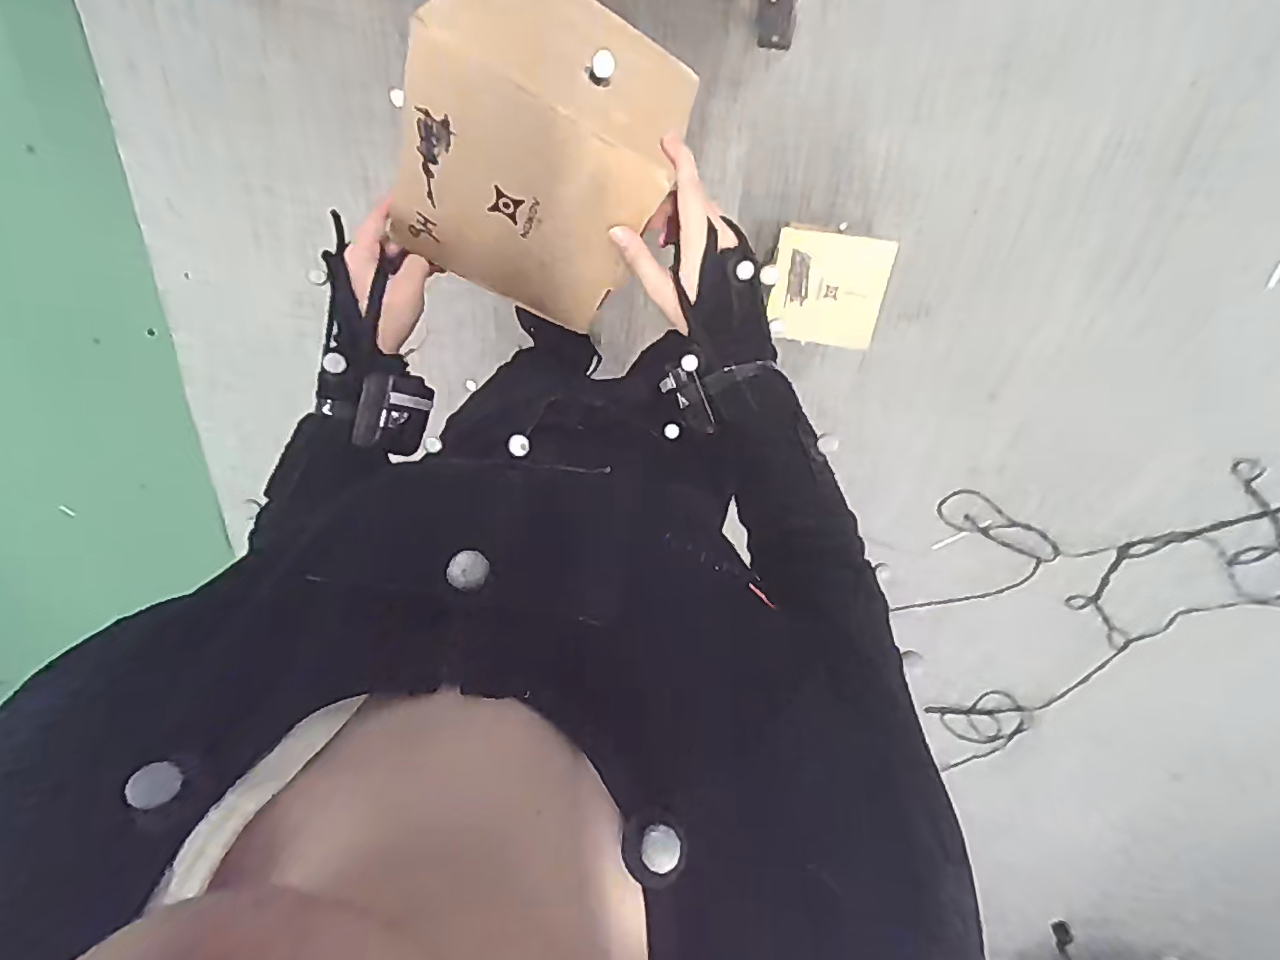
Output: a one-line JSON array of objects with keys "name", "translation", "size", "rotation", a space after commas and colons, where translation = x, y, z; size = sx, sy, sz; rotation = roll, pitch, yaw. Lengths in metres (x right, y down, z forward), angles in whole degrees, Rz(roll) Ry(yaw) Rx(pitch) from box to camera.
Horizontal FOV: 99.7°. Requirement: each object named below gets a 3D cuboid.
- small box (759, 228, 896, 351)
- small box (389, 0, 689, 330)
[{"name": "small box", "translation": [0.306, -0.329, 0.923], "size": [0.179, 0.176, 0.168], "rotation": [10, 117, 7]}, {"name": "small box", "translation": [-0.075, -0.263, 0.435], "size": [0.179, 0.176, 0.168], "rotation": [22, 145, -18]}]
